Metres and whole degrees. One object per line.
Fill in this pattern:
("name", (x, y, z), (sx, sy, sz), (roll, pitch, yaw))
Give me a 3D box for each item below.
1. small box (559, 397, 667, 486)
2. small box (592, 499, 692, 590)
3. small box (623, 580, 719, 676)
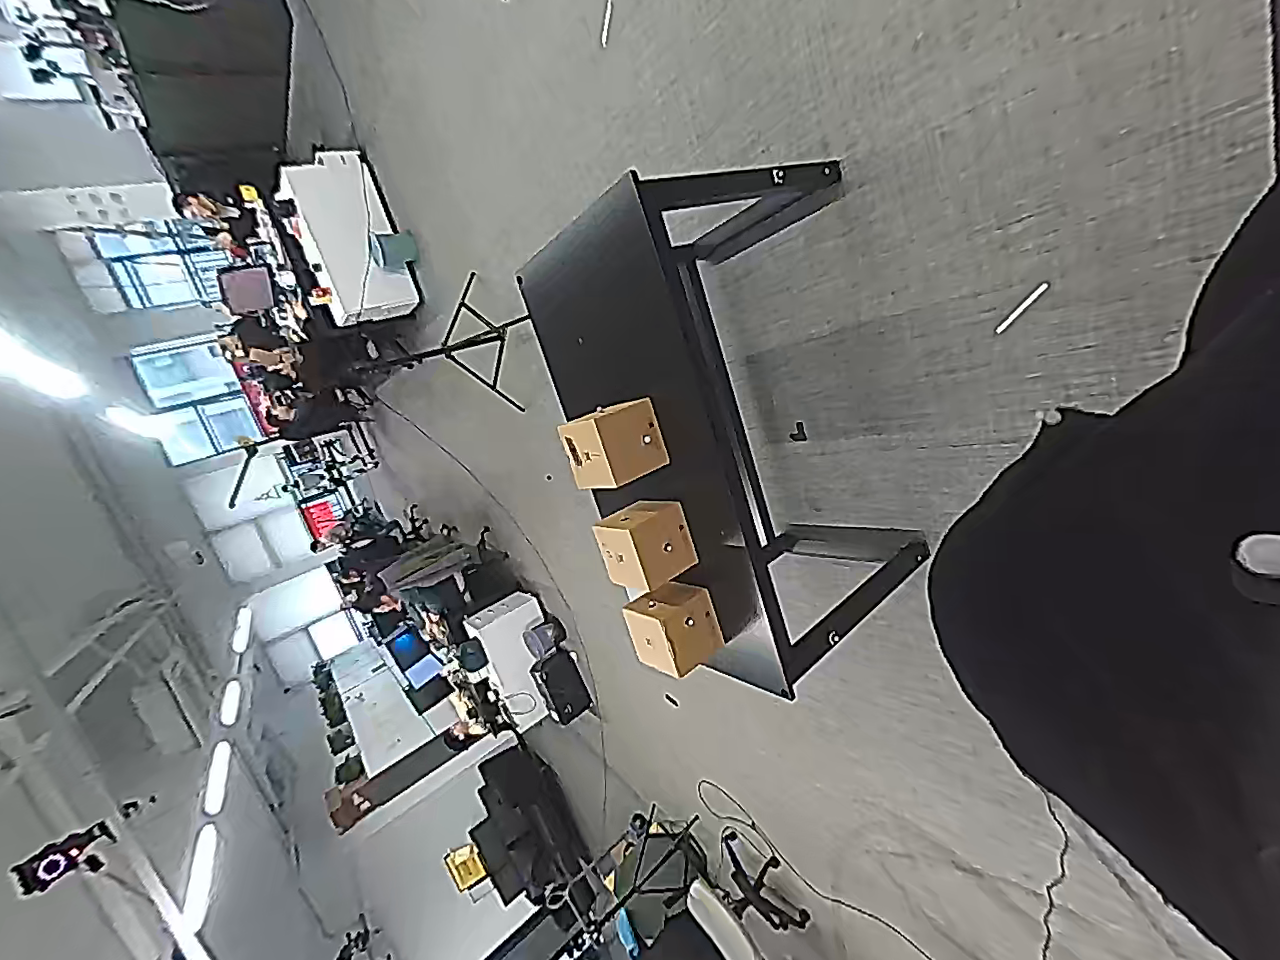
("small box", (-0.063, -0.092, 1.306), (0.179, 0.176, 0.168), (-1, 111, 55))
("small box", (0.013, 0.155, 1.368), (0.179, 0.176, 0.168), (-1, 111, 56))
("small box", (0.088, 0.377, 1.418), (0.179, 0.176, 0.168), (-2, 109, 57))
